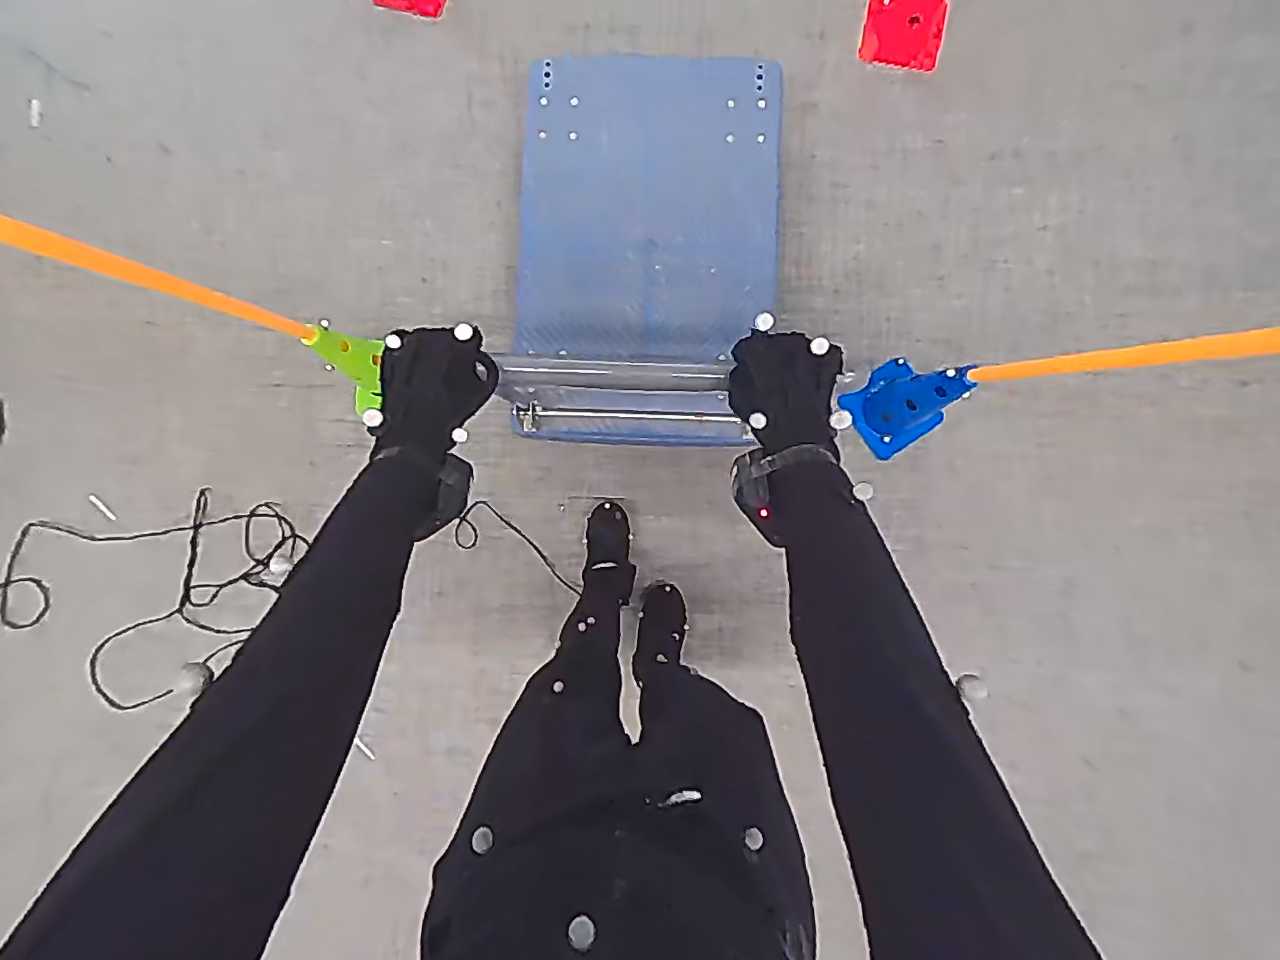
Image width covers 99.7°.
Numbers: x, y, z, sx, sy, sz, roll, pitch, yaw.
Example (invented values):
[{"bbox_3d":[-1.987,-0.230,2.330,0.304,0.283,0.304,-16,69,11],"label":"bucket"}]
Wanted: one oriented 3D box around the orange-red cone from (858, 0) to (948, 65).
[{"bbox_3d":[0.659,-1.166,1.201,0.198,0.360,0.199,13,89,4],"label":"orange-red cone"}]
